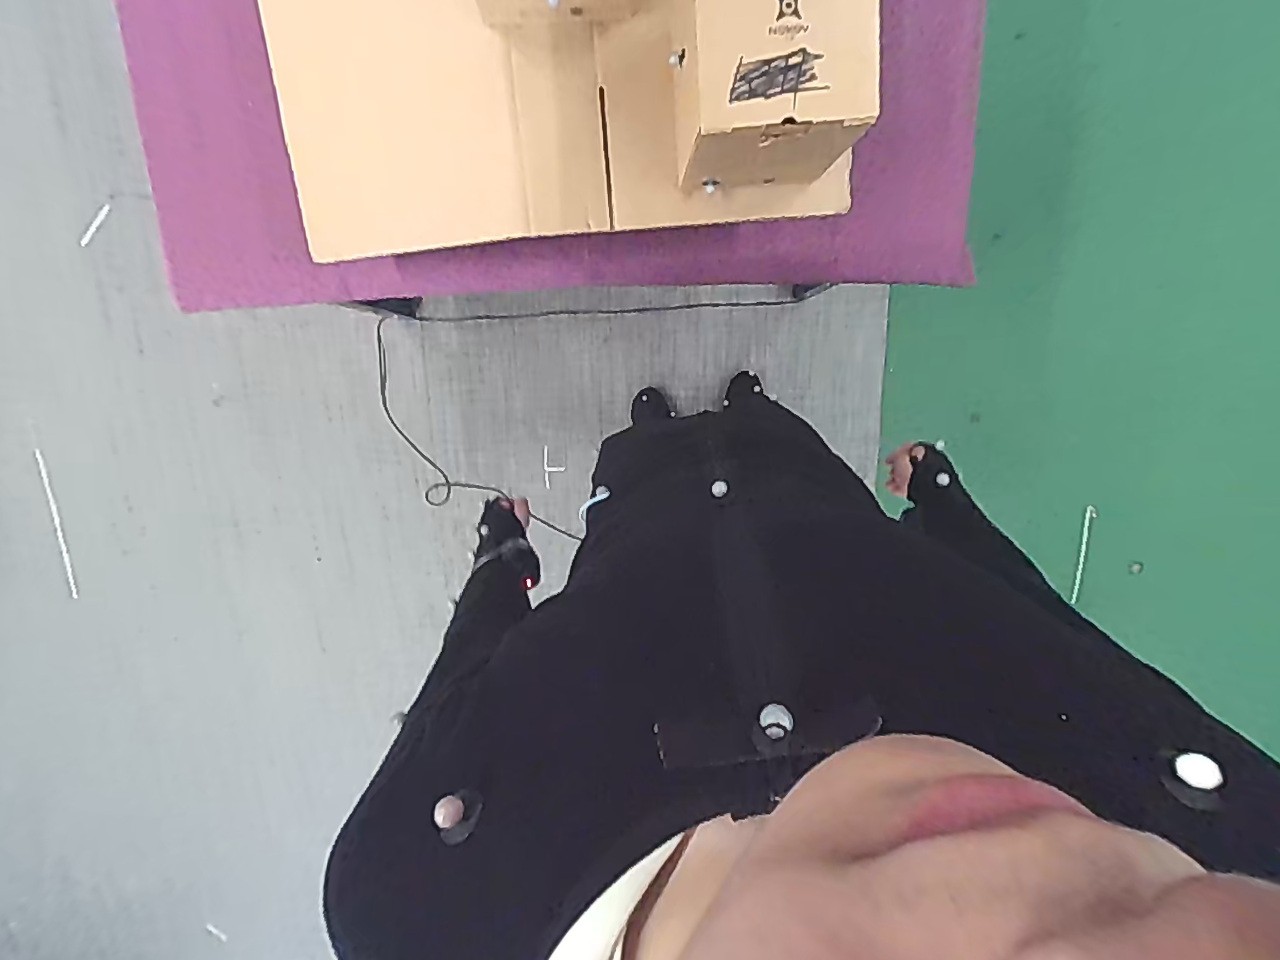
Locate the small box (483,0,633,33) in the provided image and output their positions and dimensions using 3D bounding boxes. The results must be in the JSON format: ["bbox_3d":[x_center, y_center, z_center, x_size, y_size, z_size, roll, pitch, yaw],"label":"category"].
[{"bbox_3d":[-0.090,-0.574,0.512,0.168,0.176,0.179,-4,102,-2],"label":"small box"}]

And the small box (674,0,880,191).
[{"bbox_3d":[0.127,-0.413,0.553,0.168,0.176,0.179,-5,100,-1],"label":"small box"}]
